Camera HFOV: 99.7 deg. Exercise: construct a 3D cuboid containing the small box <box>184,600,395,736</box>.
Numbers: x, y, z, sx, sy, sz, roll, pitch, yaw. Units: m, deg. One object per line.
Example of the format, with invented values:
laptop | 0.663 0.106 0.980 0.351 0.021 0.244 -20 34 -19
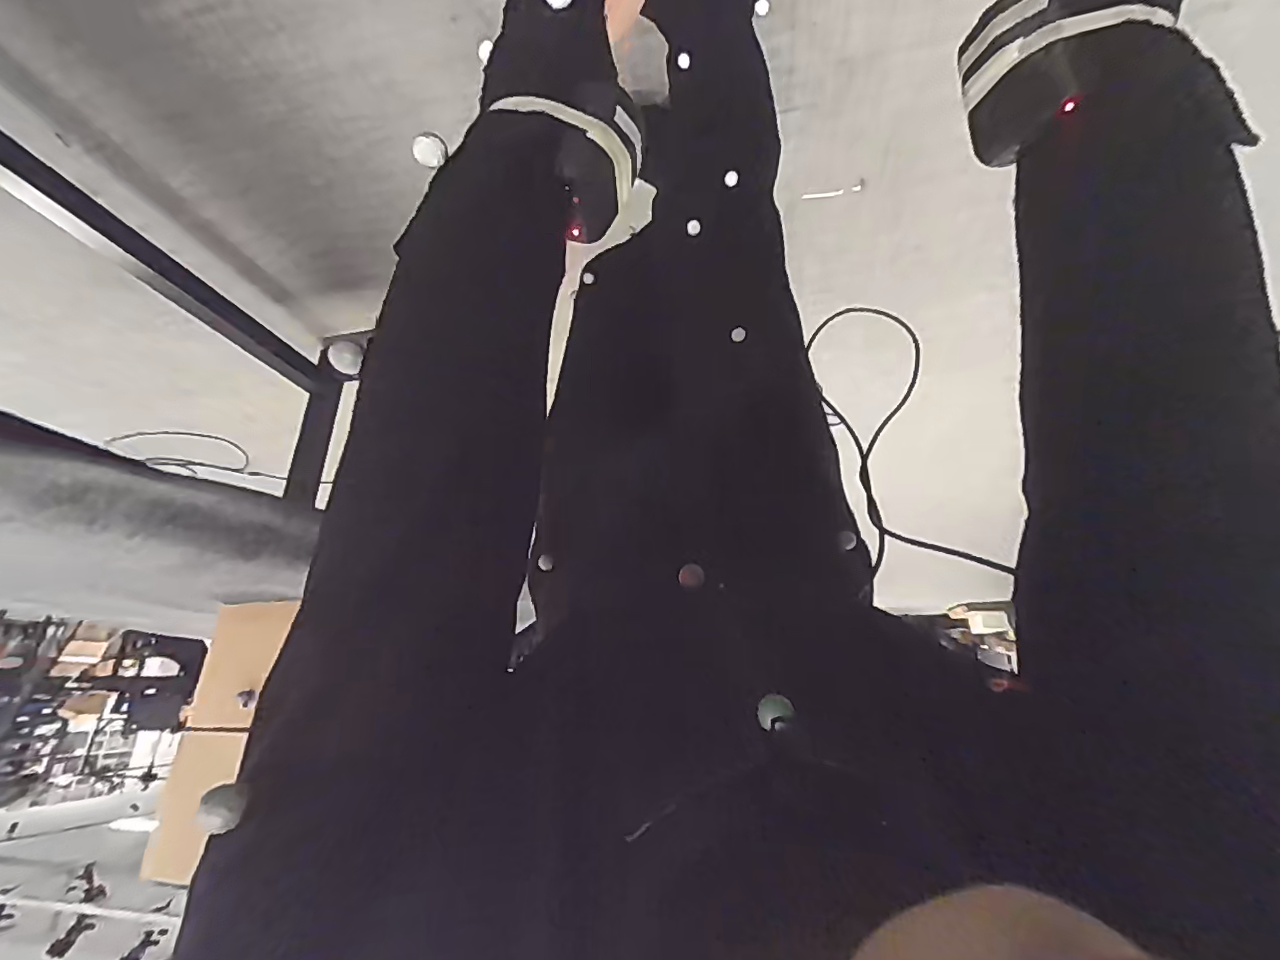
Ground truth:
small box | -0.486 0.272 0.779 0.179 0.176 0.168 -6 156 14
